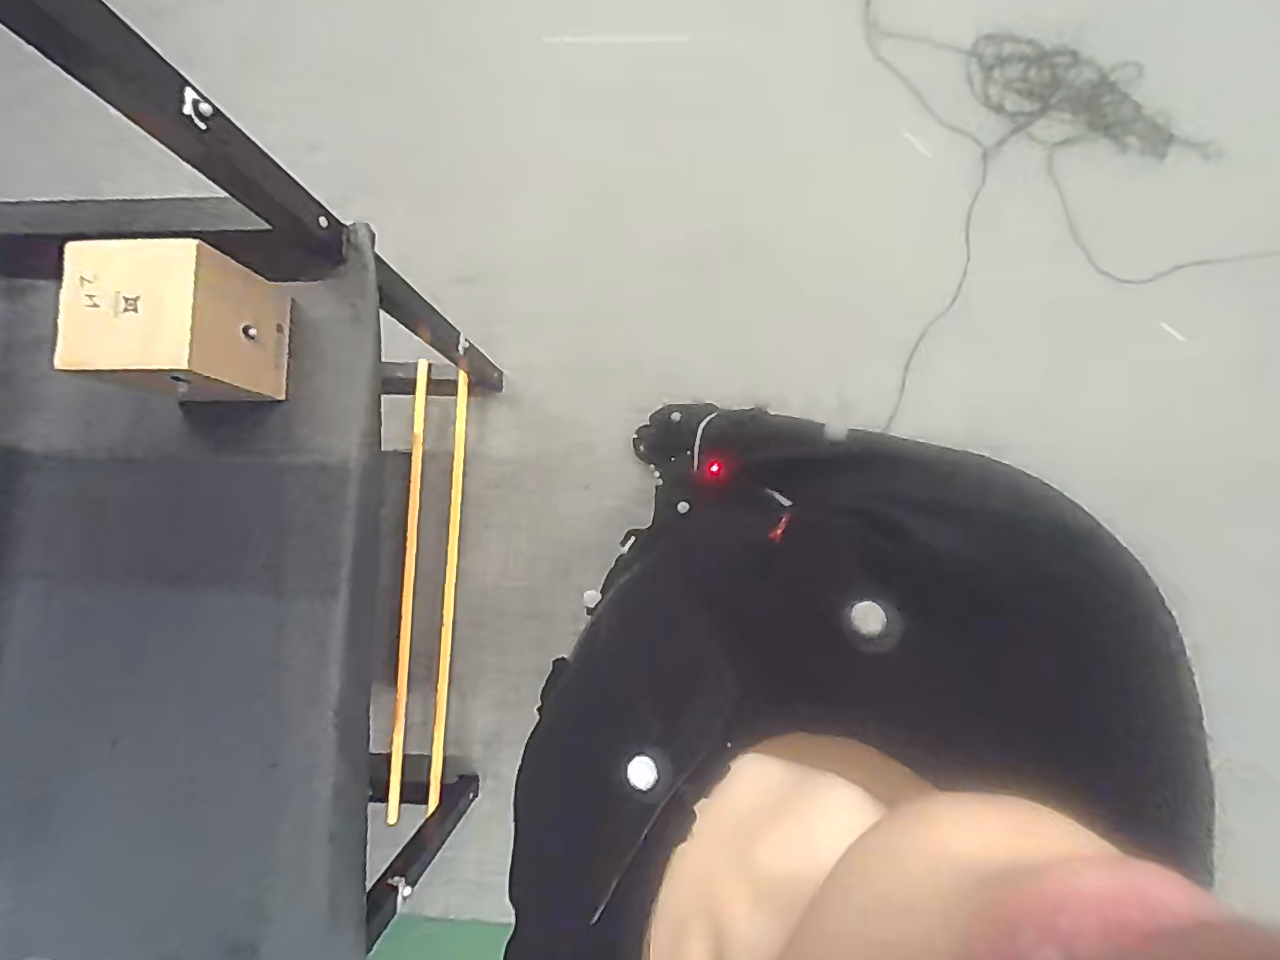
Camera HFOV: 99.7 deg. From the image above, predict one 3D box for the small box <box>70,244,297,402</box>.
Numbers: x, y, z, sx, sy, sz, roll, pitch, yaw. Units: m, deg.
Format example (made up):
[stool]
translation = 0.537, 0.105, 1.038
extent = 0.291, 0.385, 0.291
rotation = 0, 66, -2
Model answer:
[small box]
translation = -0.614, -0.207, 0.750
extent = 0.179, 0.176, 0.168
rotation = 0, 85, 5
